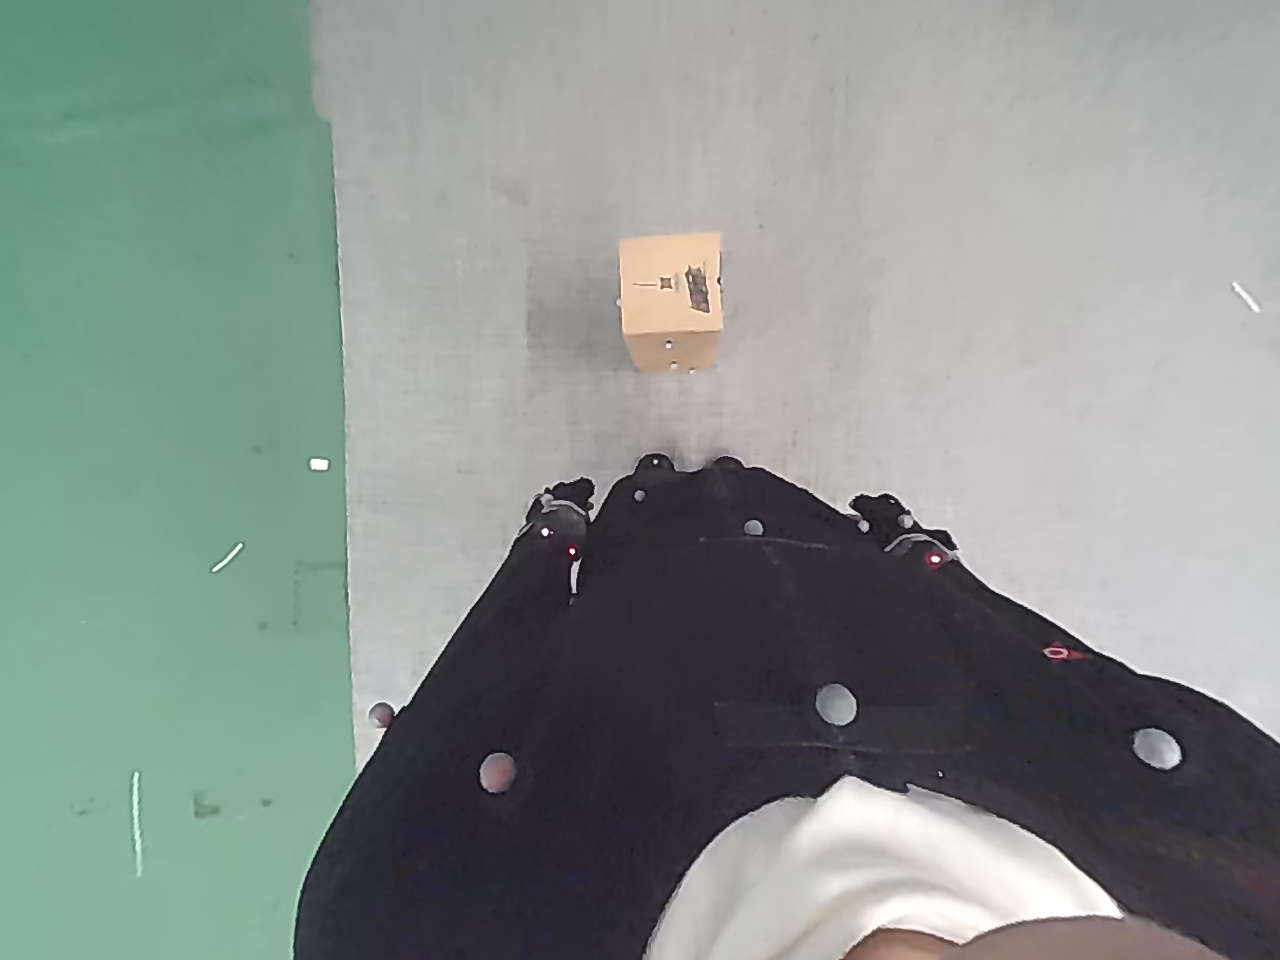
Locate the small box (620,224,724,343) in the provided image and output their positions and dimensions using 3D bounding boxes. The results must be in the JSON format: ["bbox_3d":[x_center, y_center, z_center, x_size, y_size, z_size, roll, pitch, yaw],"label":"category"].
[{"bbox_3d":[0.058,-0.355,1.002,0.179,0.176,0.168,2,91,3],"label":"small box"}]

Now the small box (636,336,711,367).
[{"bbox_3d":[0.082,-0.374,1.332,0.179,0.176,0.168,-1,93,5],"label":"small box"}]
